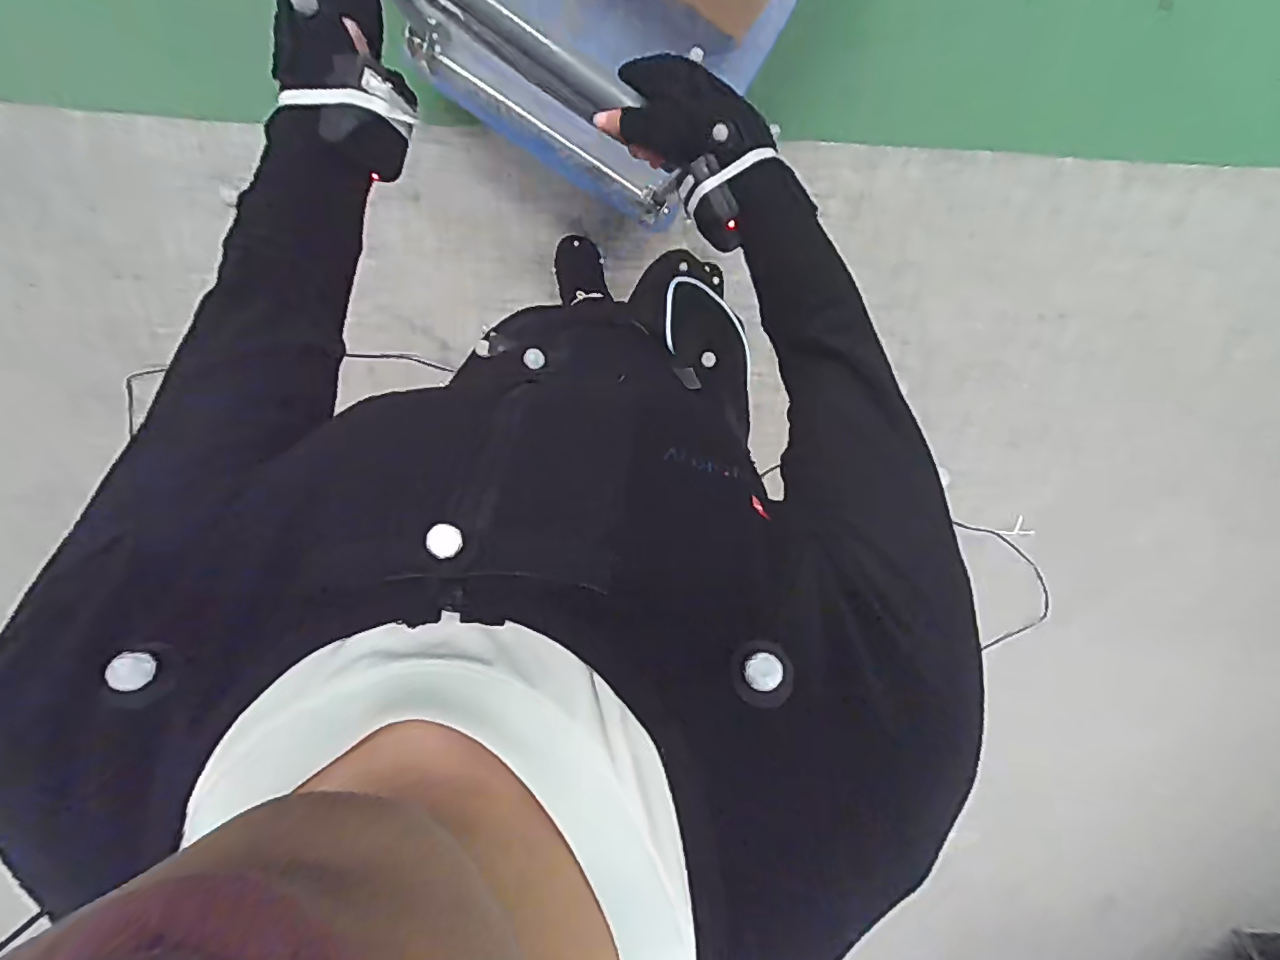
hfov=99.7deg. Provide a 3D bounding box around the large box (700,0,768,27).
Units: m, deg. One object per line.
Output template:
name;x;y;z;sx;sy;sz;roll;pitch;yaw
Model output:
large box;0.090;-0.952;0.754;0.408;0.320;0.320;26;113;-13
